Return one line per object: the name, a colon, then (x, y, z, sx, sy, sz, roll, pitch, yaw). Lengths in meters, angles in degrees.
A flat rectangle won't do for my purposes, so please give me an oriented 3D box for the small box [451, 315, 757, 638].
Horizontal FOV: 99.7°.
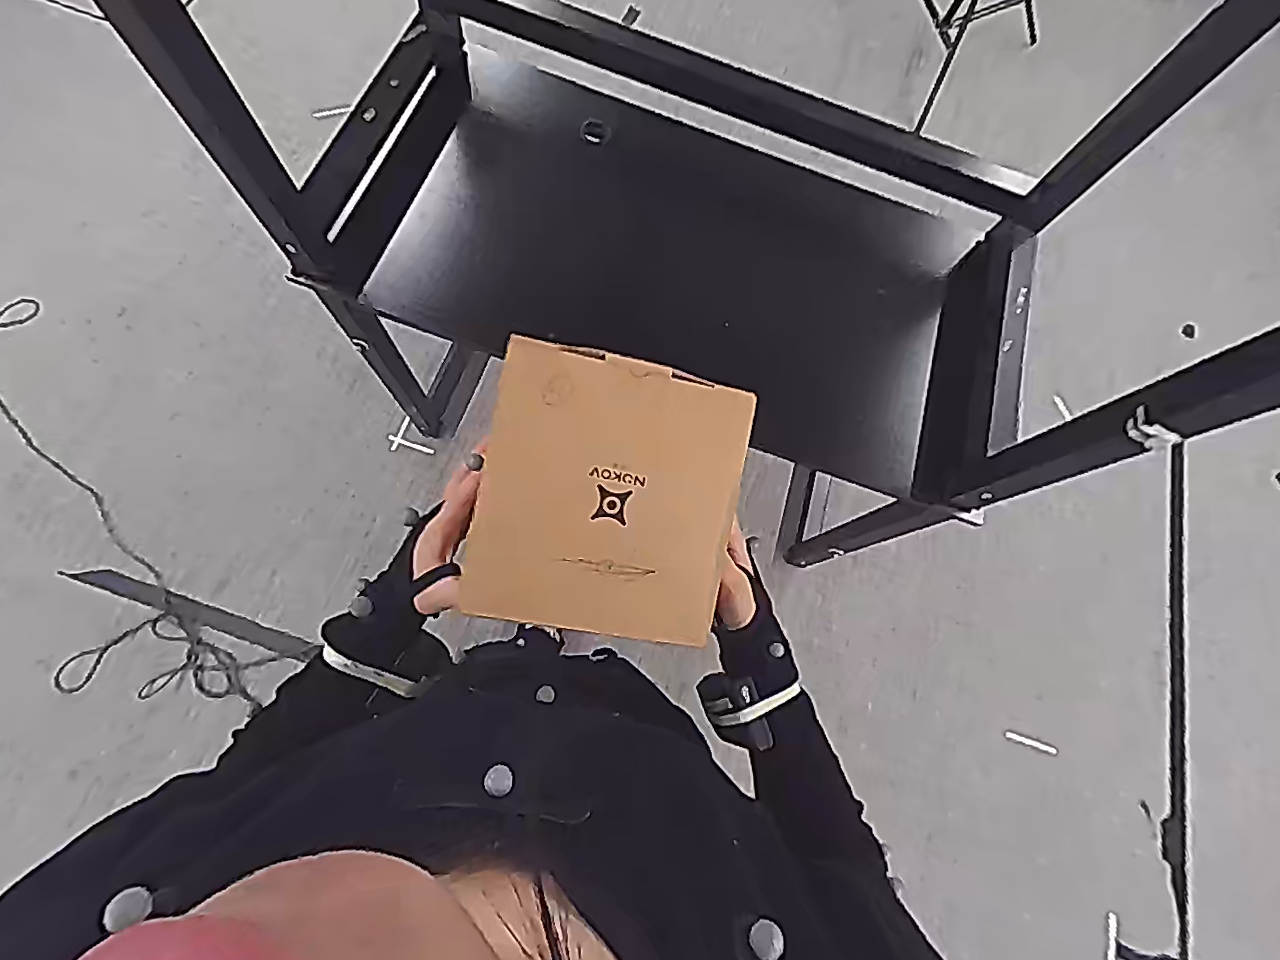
small box: (-0.033, -0.001, 0.413, 0.168, 0.176, 0.179, 12, 91, -11)
